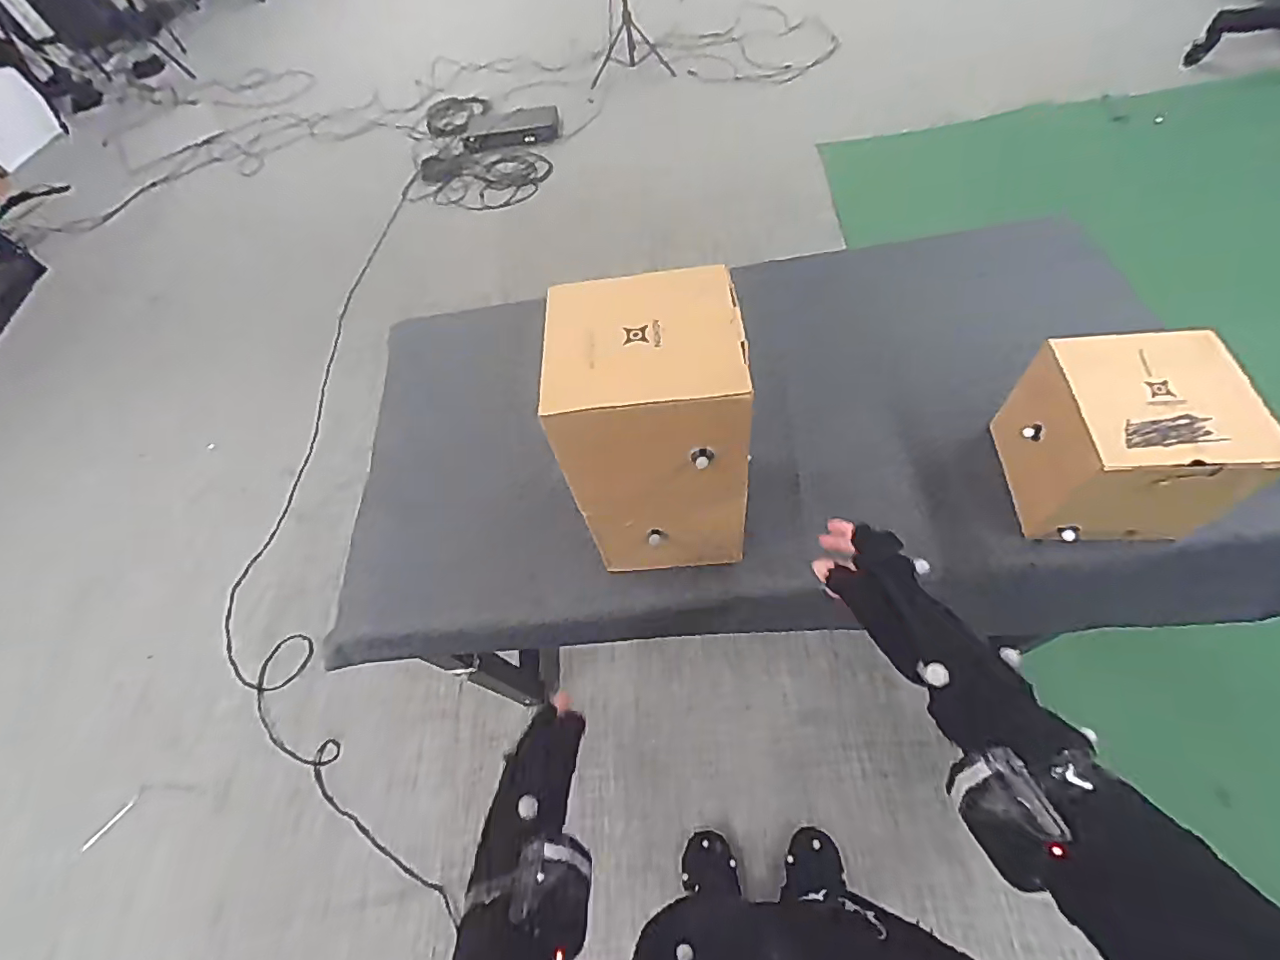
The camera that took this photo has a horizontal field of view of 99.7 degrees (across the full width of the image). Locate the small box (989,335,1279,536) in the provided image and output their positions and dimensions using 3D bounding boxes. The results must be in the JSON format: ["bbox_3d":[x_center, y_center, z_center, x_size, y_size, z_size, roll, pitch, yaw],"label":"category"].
[{"bbox_3d":[0.546,-0.043,0.633,0.168,0.176,0.179,-1,58,9],"label":"small box"}]

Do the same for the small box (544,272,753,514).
[{"bbox_3d":[0.014,-0.080,0.552,0.179,0.176,0.168,-7,56,6],"label":"small box"}]

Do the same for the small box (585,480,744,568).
[{"bbox_3d":[0.036,0.004,0.690,0.179,0.176,0.168,-6,57,6],"label":"small box"}]
